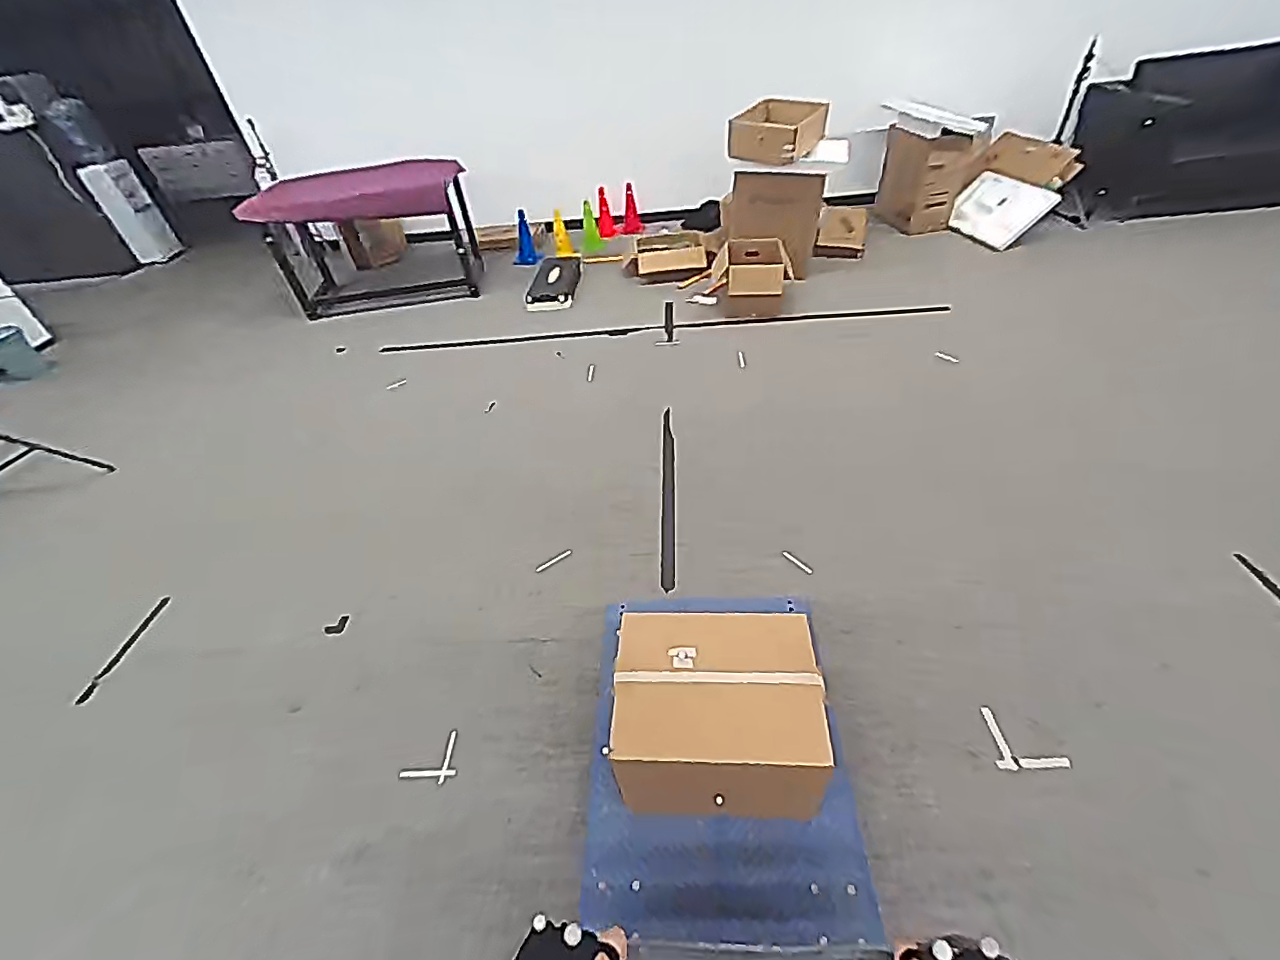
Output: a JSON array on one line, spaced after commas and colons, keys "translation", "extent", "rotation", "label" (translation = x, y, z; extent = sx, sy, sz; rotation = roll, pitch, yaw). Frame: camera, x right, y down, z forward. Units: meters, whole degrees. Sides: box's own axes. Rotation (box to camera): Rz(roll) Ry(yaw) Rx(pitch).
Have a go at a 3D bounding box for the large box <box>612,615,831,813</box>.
[{"translation": [0.169, 0.516, 1.191], "extent": [0.408, 0.320, 0.320], "rotation": [-2, 42, 7], "label": "large box"}]
